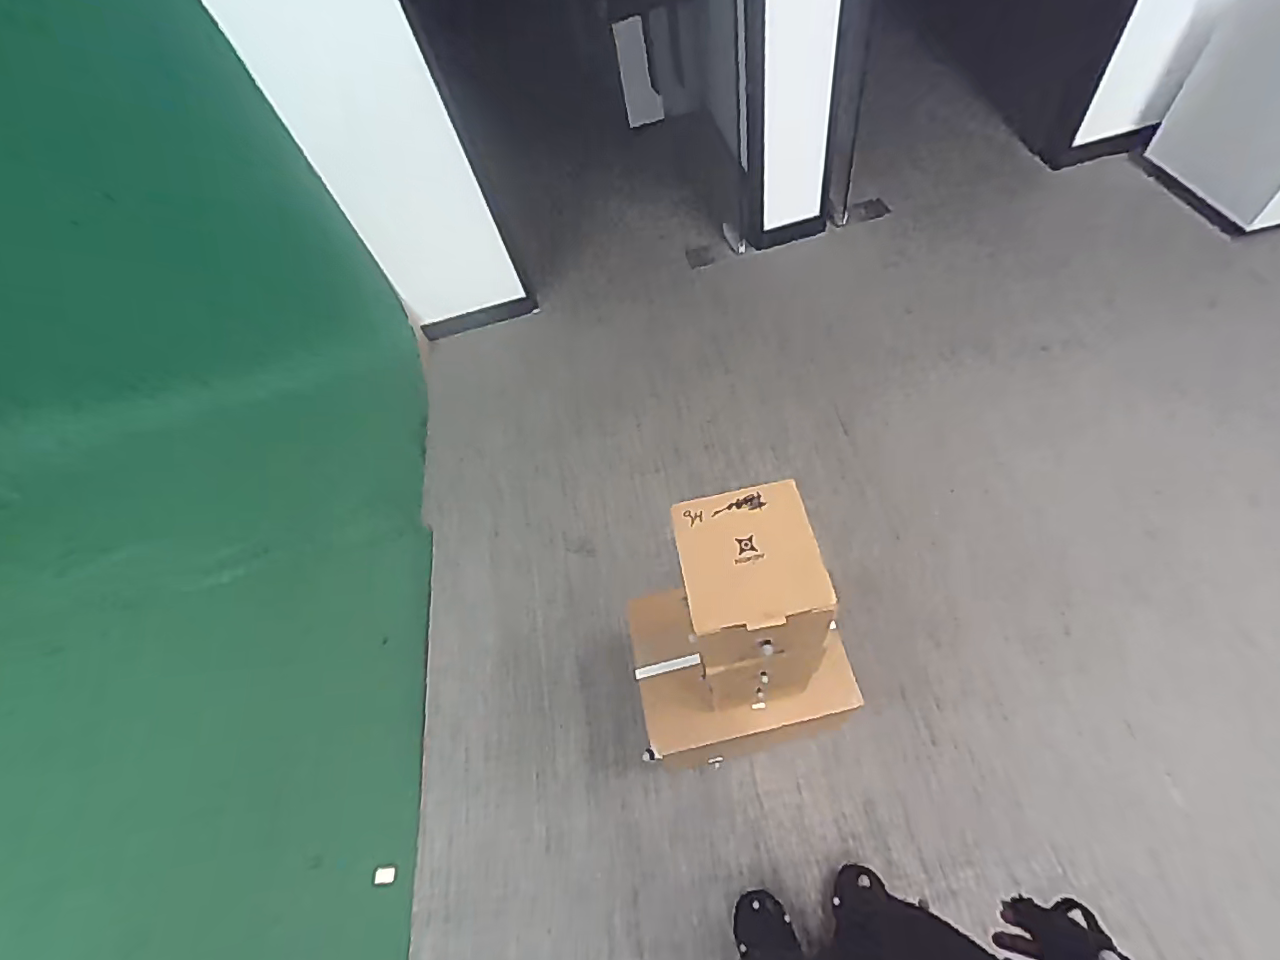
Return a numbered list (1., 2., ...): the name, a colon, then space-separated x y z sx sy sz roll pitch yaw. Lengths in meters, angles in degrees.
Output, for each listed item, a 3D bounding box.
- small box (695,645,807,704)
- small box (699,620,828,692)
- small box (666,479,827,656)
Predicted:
1. small box: 0.192 0.301 0.995 0.179 0.176 0.168 -13 58 2
2. small box: 0.171 0.219 0.854 0.179 0.176 0.168 -16 57 0
3. small box: 0.139 0.127 0.723 0.168 0.176 0.179 -12 58 5
